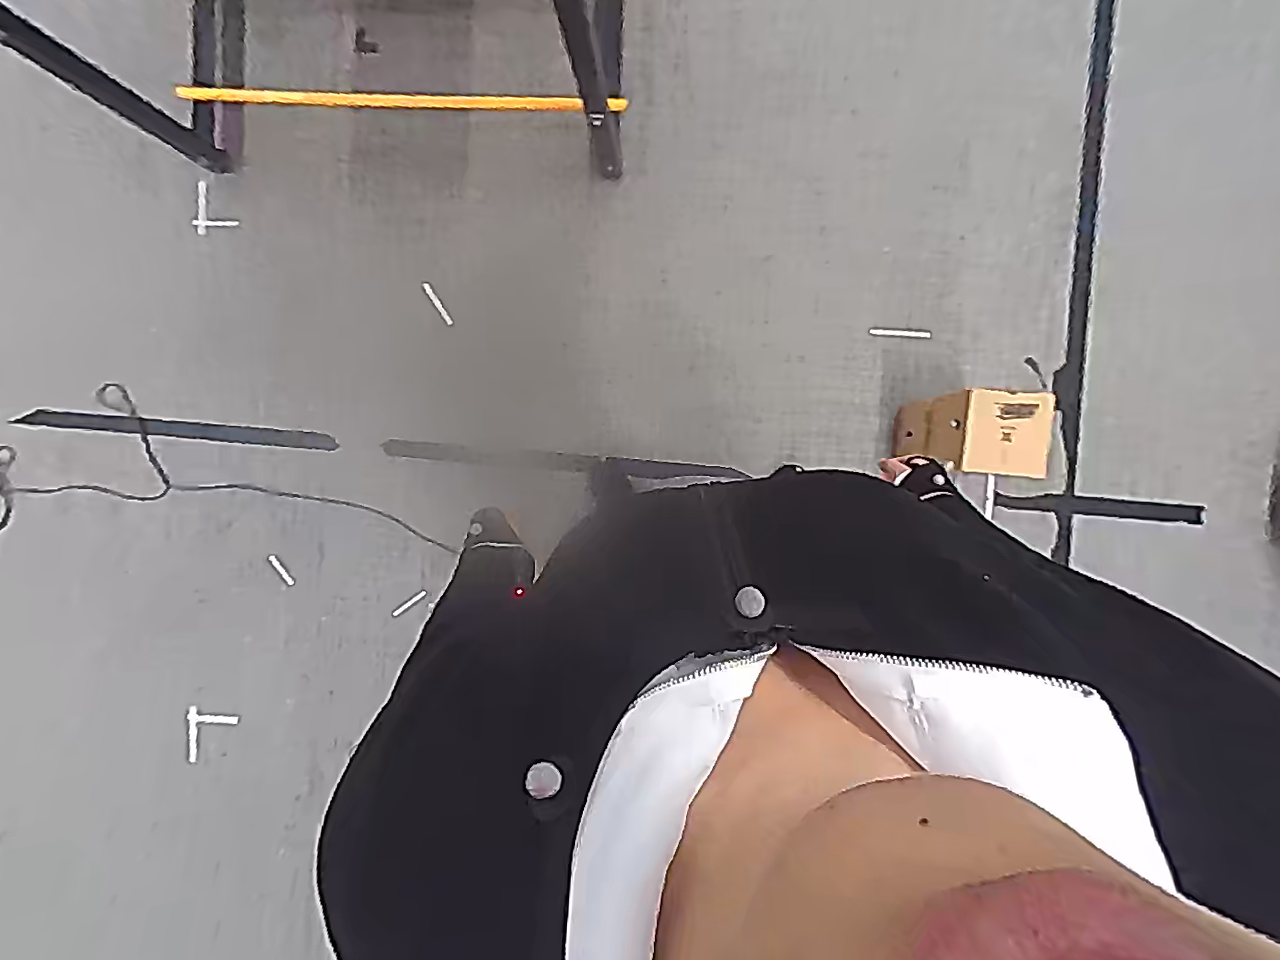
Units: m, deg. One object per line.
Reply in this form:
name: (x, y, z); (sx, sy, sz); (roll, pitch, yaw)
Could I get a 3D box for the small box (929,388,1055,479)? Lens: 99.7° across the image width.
small box: (0.761, -0.098, 1.188); (0.168, 0.176, 0.179); (6, 93, 4)

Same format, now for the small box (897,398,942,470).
small box: (0.767, -0.107, 1.354); (0.179, 0.176, 0.168); (6, 92, 5)
